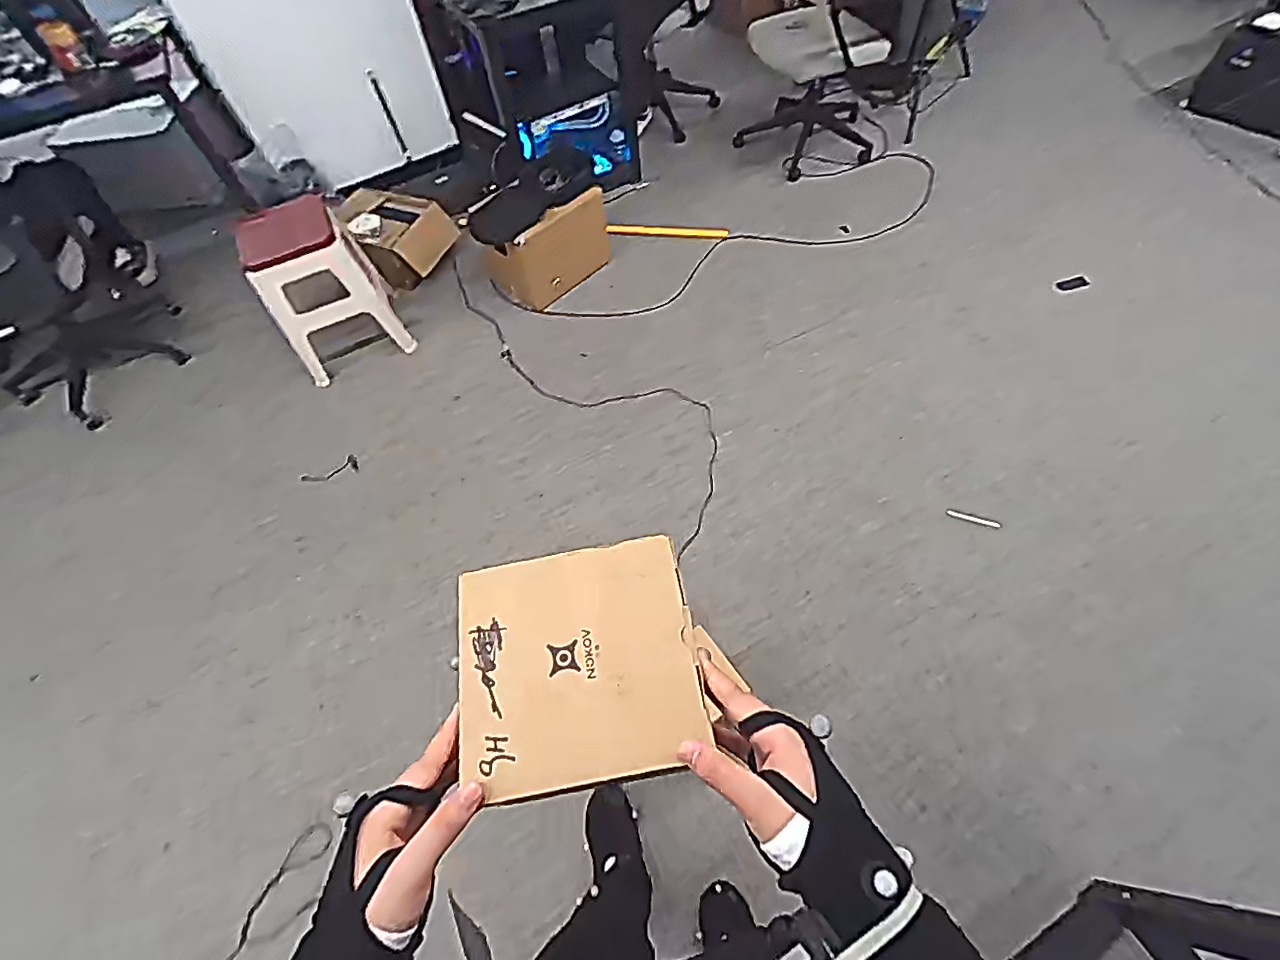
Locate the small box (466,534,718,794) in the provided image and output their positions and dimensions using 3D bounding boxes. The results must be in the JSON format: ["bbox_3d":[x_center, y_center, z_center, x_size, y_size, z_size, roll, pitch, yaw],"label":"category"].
[{"bbox_3d":[-0.040,0.167,0.474,0.179,0.176,0.168,-10,59,-2],"label":"small box"}]

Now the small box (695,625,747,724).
[{"bbox_3d":[0.103,0.443,1.141,0.179,0.176,0.168,-32,62,-15],"label":"small box"}]
